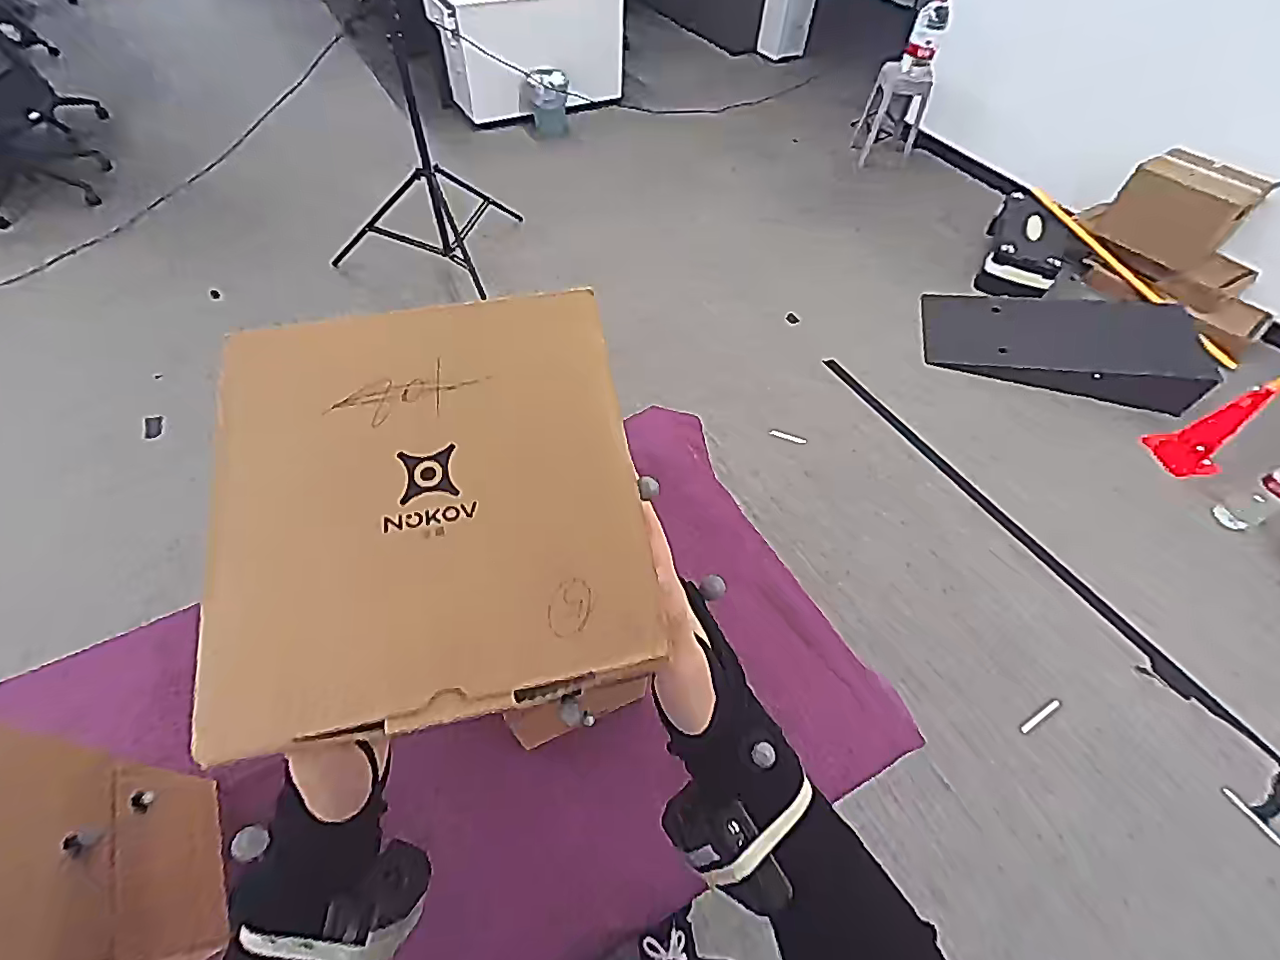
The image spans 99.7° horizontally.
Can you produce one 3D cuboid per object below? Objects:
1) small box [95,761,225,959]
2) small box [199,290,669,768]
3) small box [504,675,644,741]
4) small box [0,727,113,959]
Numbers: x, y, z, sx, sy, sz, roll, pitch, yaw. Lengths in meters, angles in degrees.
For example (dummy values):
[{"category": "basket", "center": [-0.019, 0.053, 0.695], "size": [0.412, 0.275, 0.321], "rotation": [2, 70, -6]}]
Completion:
[{"category": "small box", "center": [-0.529, 0.401, 0.509], "size": [0.168, 0.176, 0.179], "rotation": [-23, 58, -19]}, {"category": "small box", "center": [-0.088, 0.032, 0.291], "size": [0.168, 0.176, 0.179], "rotation": [-10, 69, -8]}, {"category": "small box", "center": [-0.102, 0.198, 0.680], "size": [0.168, 0.176, 0.179], "rotation": [-19, 58, -16]}, {"category": "small box", "center": [-0.525, 0.300, 0.379], "size": [0.168, 0.176, 0.179], "rotation": [-24, 58, -19]}]
